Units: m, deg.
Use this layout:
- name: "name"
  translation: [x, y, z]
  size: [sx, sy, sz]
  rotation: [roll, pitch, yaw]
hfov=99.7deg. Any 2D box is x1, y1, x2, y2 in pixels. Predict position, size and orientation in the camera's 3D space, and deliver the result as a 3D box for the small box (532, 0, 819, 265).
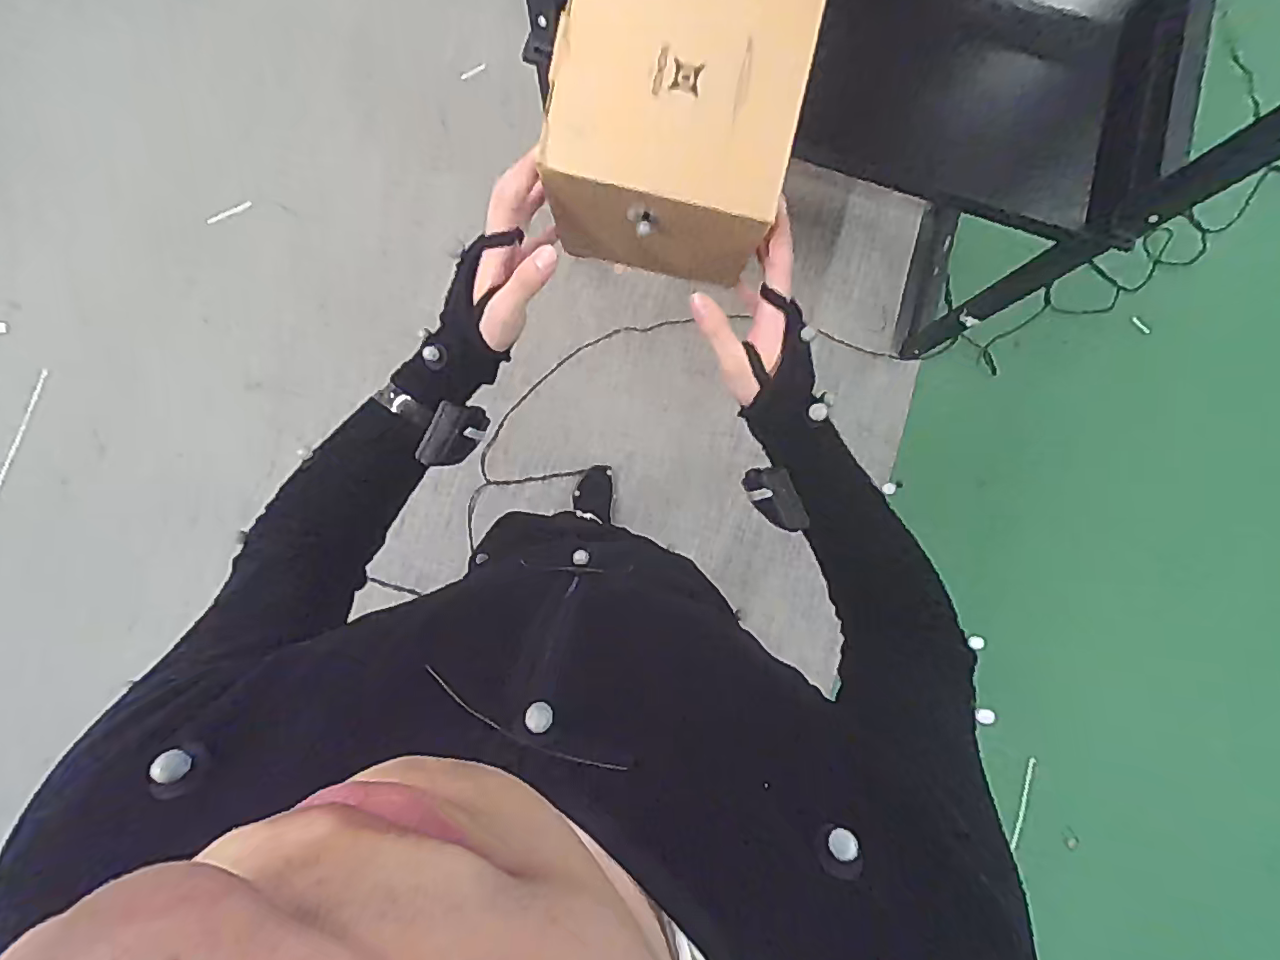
- name: "small box"
  translation: [0.026, -0.300, 0.451]
  size: [0.179, 0.176, 0.168]
  rotation: [13, 94, -1]
